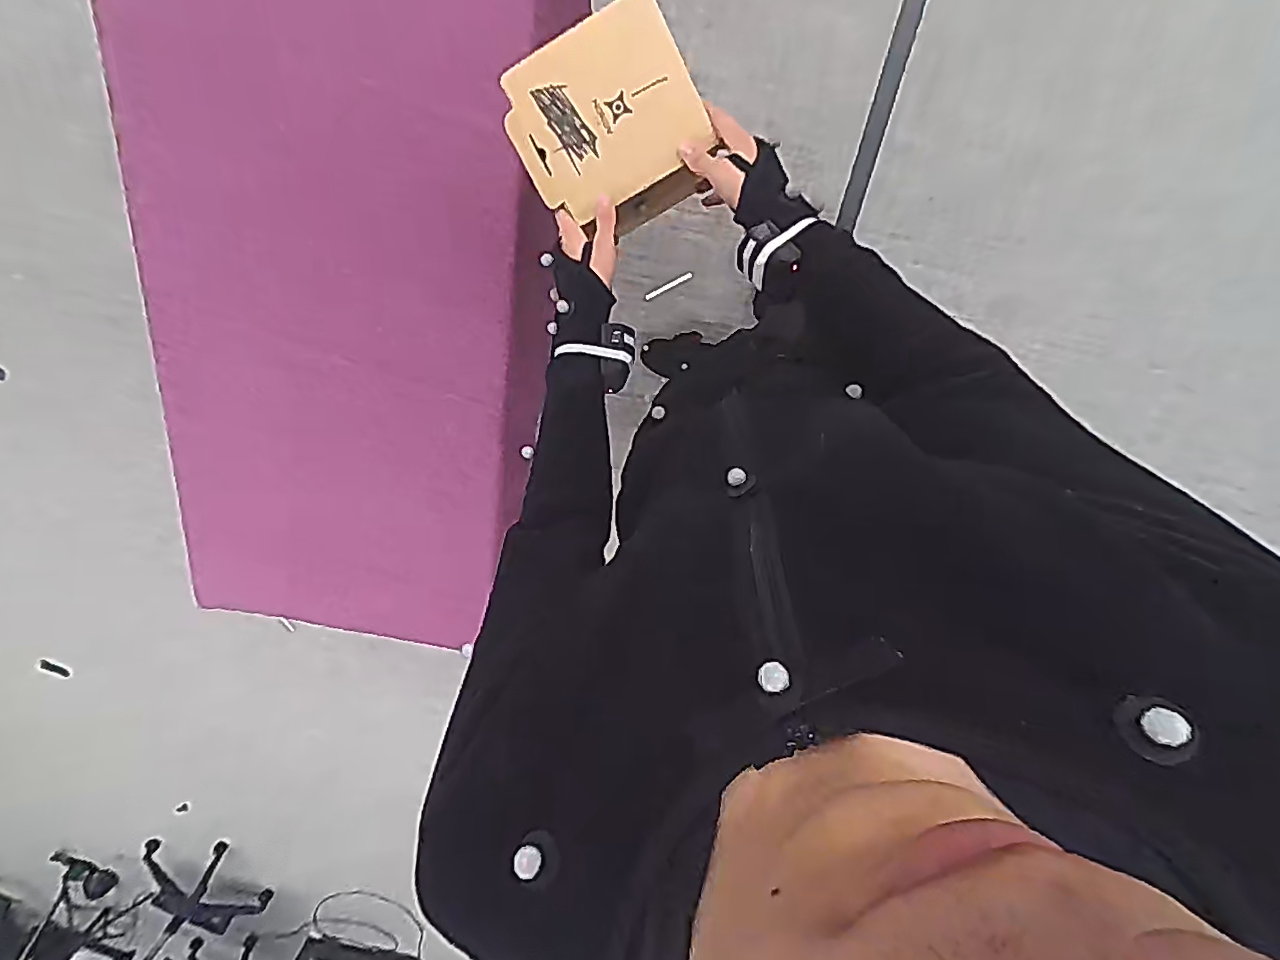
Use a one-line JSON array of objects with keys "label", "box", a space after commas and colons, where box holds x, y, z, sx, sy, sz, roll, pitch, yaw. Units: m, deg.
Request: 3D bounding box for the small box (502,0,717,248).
[{"label": "small box", "box": [-0.028, -0.399, 0.635, 0.179, 0.176, 0.168, -28, 102, 7]}]
